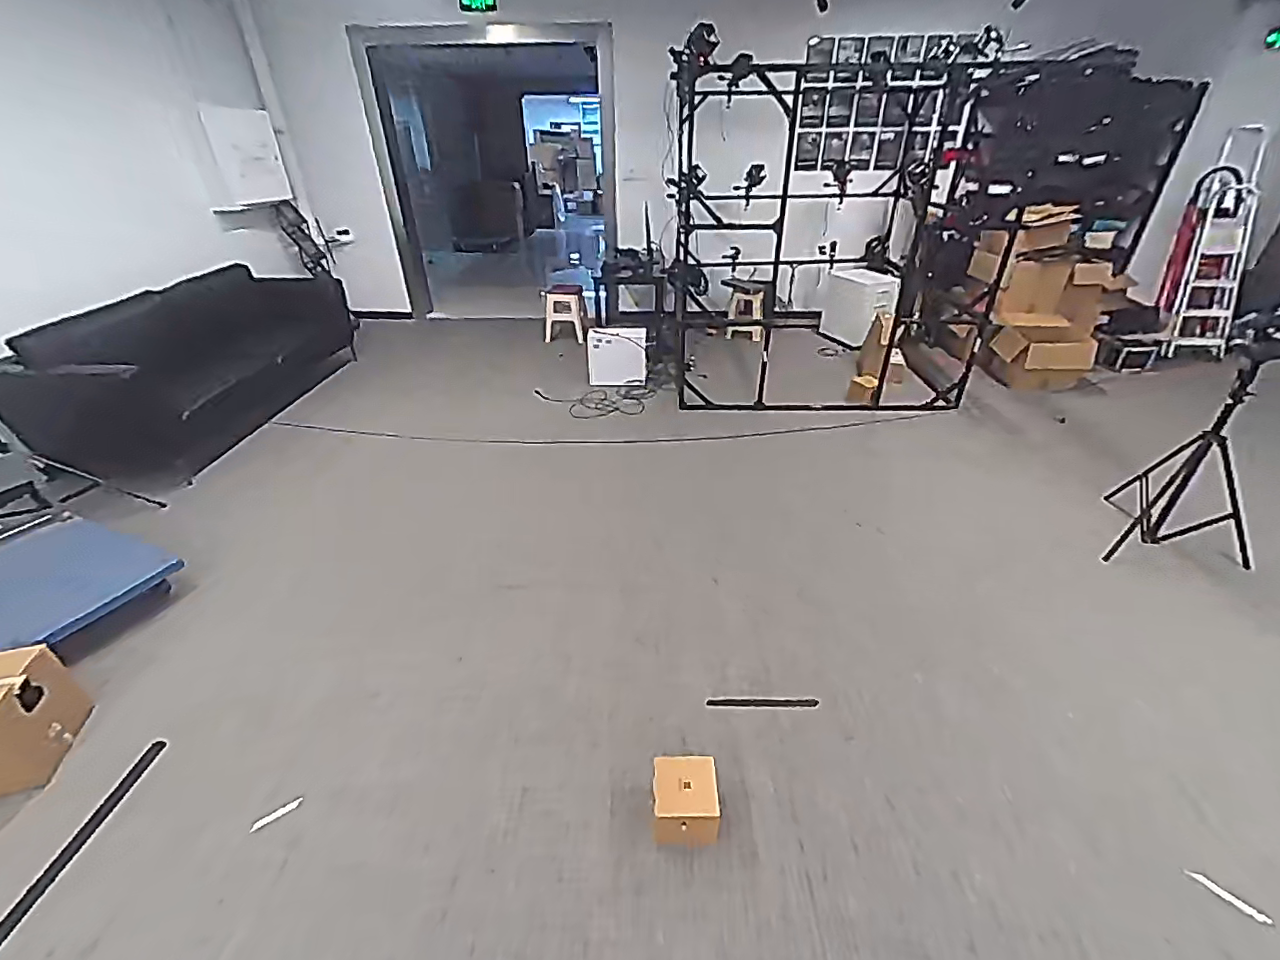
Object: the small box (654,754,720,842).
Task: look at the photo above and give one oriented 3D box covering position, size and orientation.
[{"bbox_3d":[0.130,0.911,1.549,0.179,0.176,0.168,-1,33,1],"label":"small box"}]
